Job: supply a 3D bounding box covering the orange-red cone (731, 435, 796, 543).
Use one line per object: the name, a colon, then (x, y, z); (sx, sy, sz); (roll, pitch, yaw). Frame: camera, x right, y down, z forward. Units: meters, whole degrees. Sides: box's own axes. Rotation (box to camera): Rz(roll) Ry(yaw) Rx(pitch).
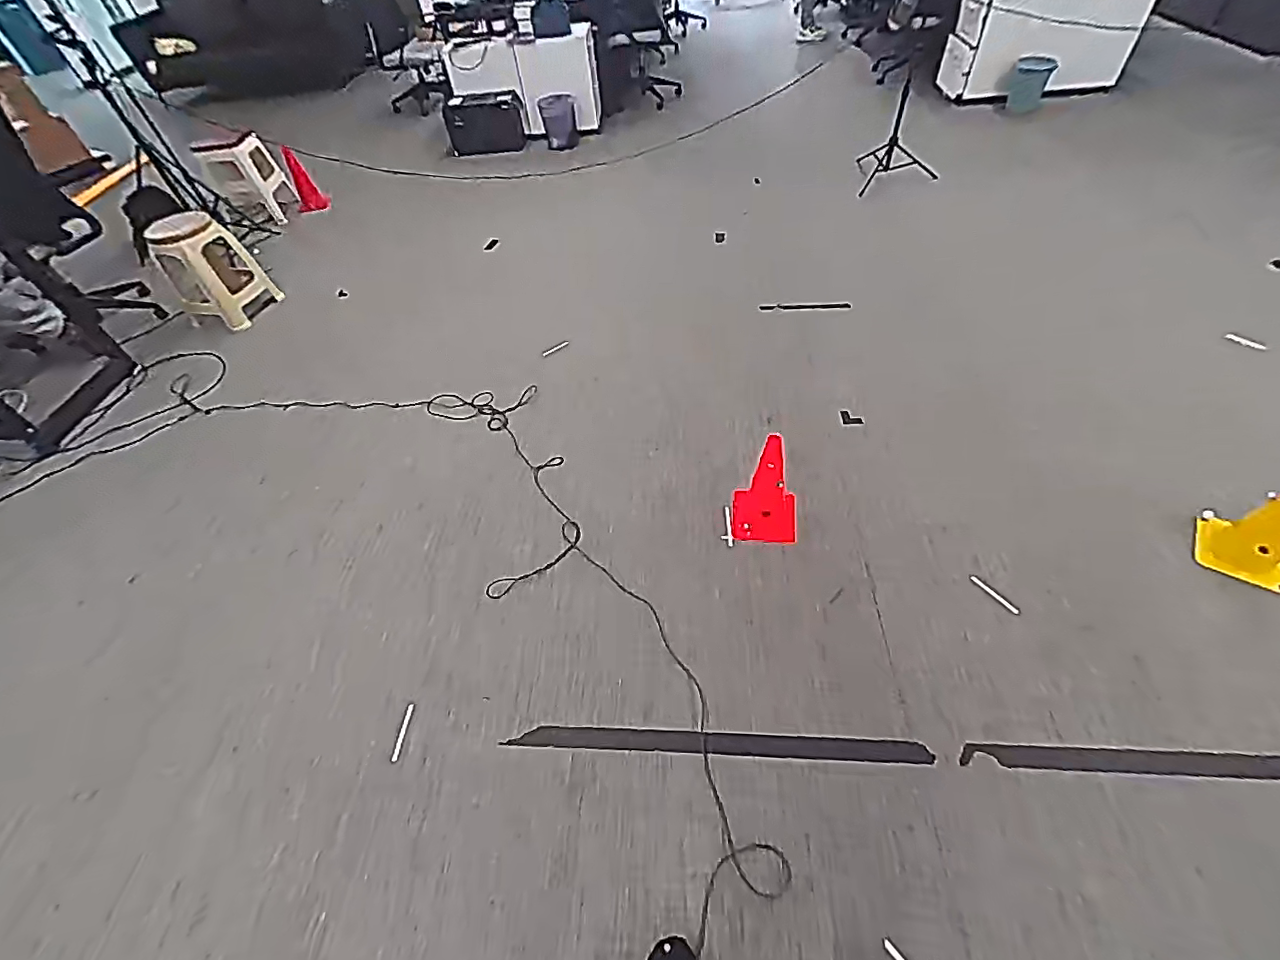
orange-red cone: (0.383, 0.002, 1.589); (0.199, 0.360, 0.198); (5, 51, 10)
